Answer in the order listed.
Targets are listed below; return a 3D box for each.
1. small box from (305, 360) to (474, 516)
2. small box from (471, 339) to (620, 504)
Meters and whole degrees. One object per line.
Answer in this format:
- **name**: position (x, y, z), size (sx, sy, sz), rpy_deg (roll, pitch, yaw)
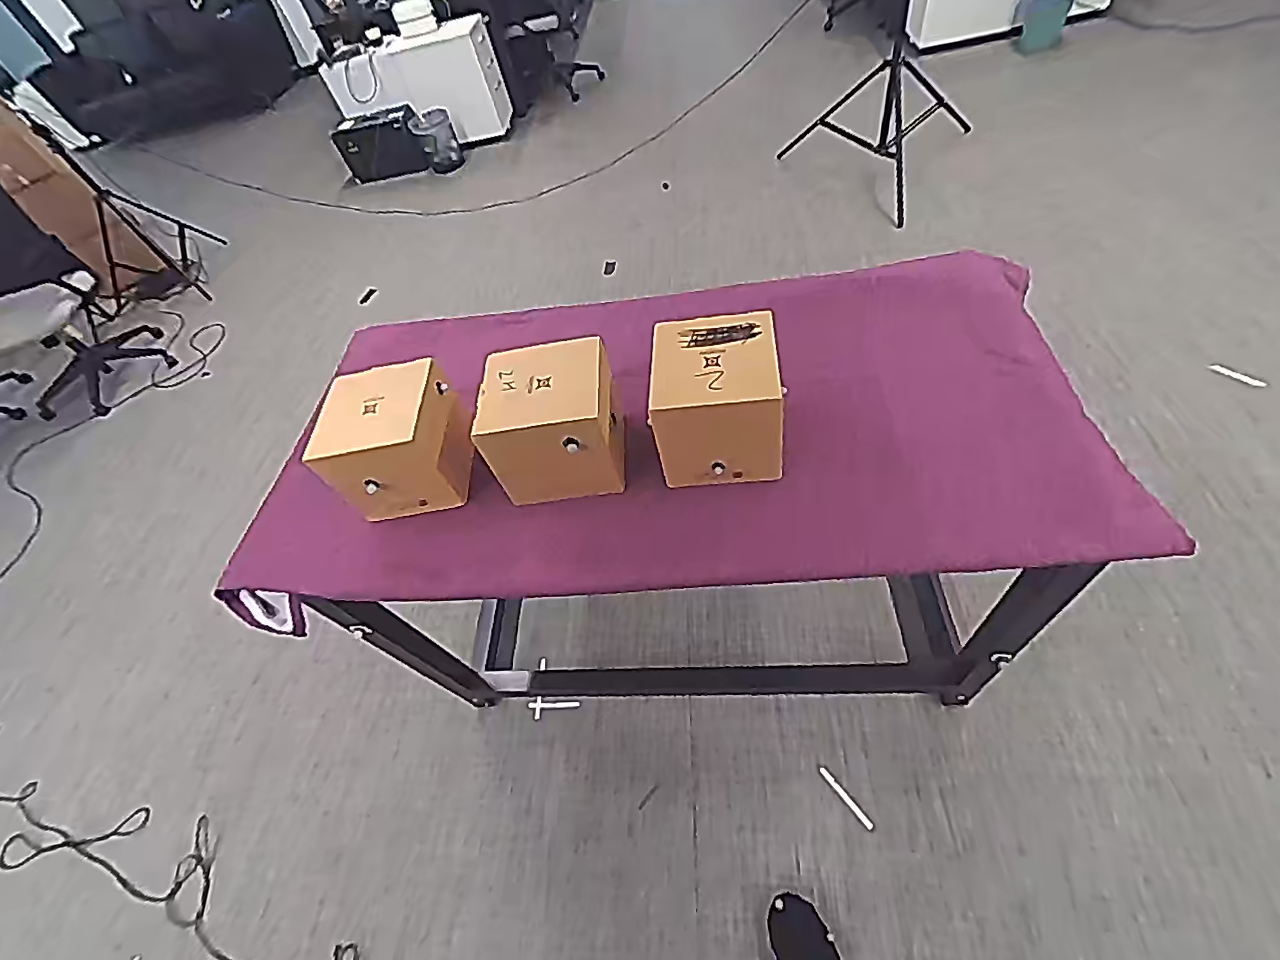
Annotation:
- **small box**: position (-0.379, -0.057, 0.856), size (0.168, 0.176, 0.179), rpy_deg (-10, 51, 6)
- **small box**: position (-0.127, -0.083, 0.812), size (0.179, 0.176, 0.168), rpy_deg (-8, 51, 7)
